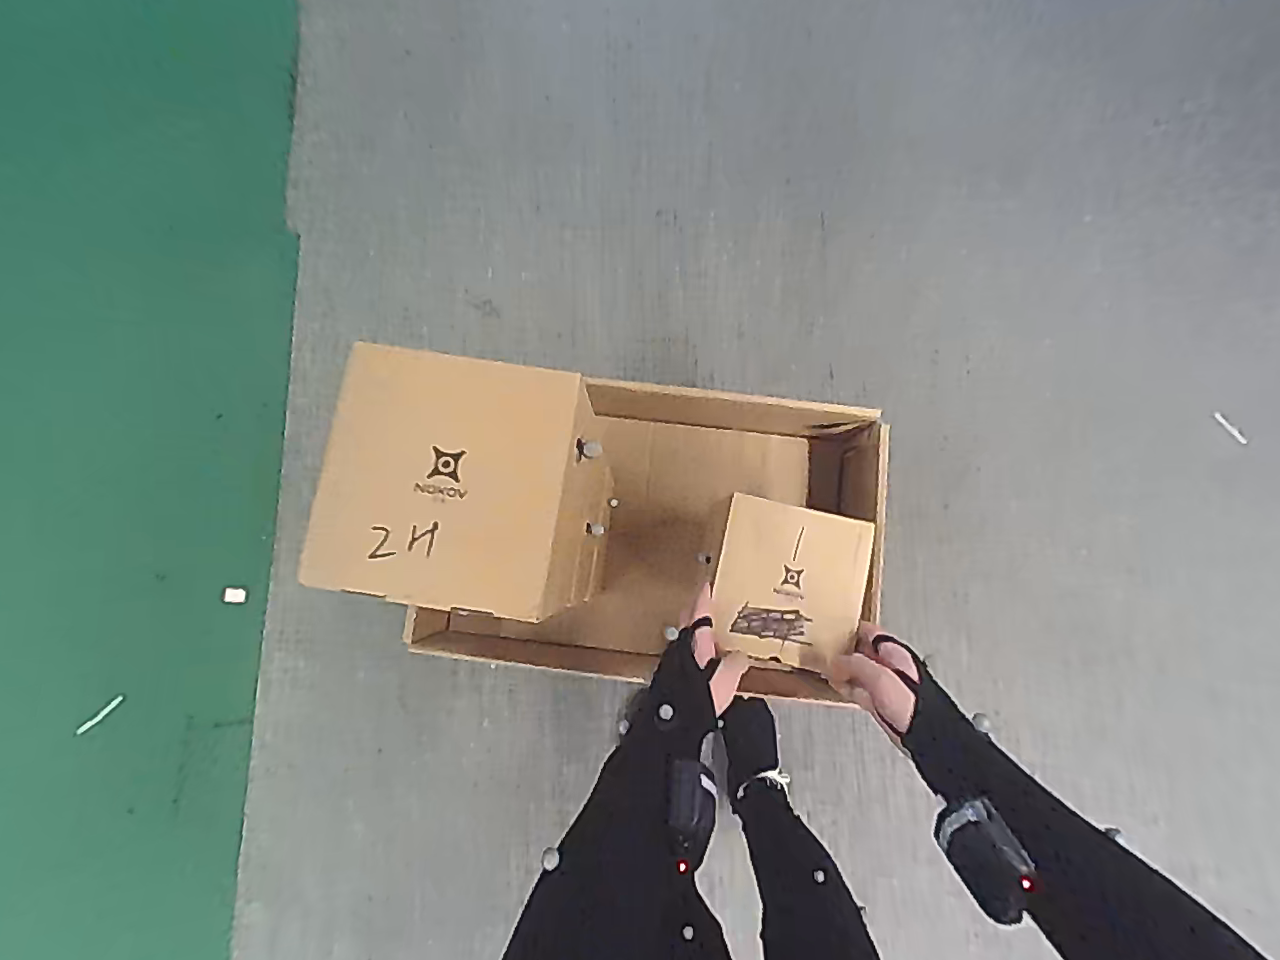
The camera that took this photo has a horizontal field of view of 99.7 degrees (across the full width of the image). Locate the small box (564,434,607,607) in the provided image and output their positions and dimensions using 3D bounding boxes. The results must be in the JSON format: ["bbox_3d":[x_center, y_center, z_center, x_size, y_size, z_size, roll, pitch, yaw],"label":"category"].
[{"bbox_3d":[-0.131,0.038,0.613,0.168,0.176,0.179,8,82,1],"label":"small box"}]

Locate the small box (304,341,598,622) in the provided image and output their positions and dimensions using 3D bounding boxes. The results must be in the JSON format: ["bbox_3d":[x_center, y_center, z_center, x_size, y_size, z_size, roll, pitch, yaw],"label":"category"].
[{"bbox_3d":[-0.131,0.009,0.450,0.168,0.176,0.179,9,82,2],"label":"small box"}]

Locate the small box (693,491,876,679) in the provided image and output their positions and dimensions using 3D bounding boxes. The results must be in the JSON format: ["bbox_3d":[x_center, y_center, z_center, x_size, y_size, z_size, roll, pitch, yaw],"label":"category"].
[{"bbox_3d":[0.166,0.124,0.675,0.168,0.176,0.179,13,82,1],"label":"small box"}]
